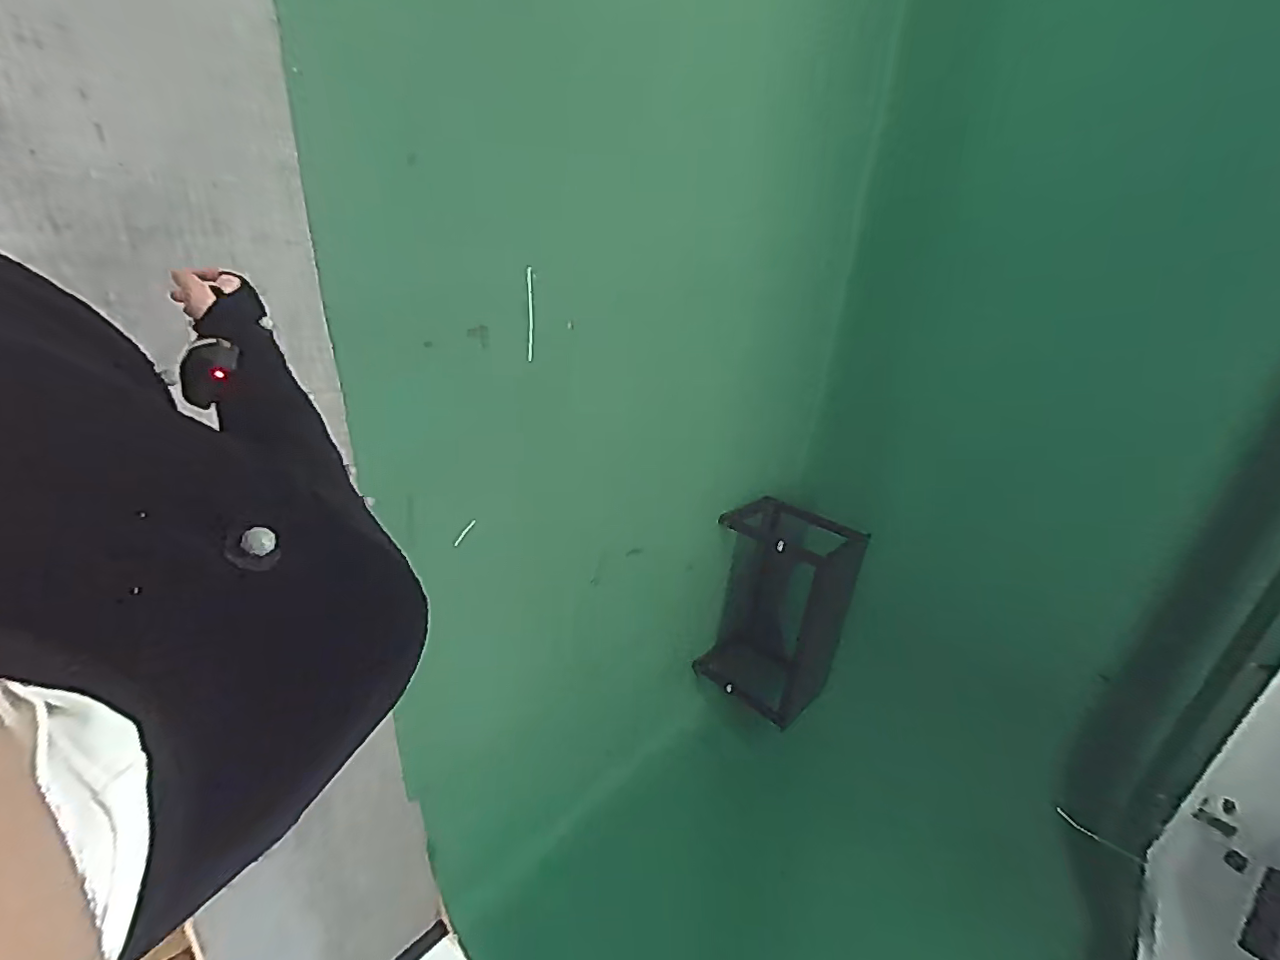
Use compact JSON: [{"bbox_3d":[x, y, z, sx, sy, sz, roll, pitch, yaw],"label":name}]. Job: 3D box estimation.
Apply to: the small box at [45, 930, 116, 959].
[{"bbox_3d":[-1.129,1.045,1.049,0.179,0.176,0.168,-15,119,-45],"label":"small box"}]
